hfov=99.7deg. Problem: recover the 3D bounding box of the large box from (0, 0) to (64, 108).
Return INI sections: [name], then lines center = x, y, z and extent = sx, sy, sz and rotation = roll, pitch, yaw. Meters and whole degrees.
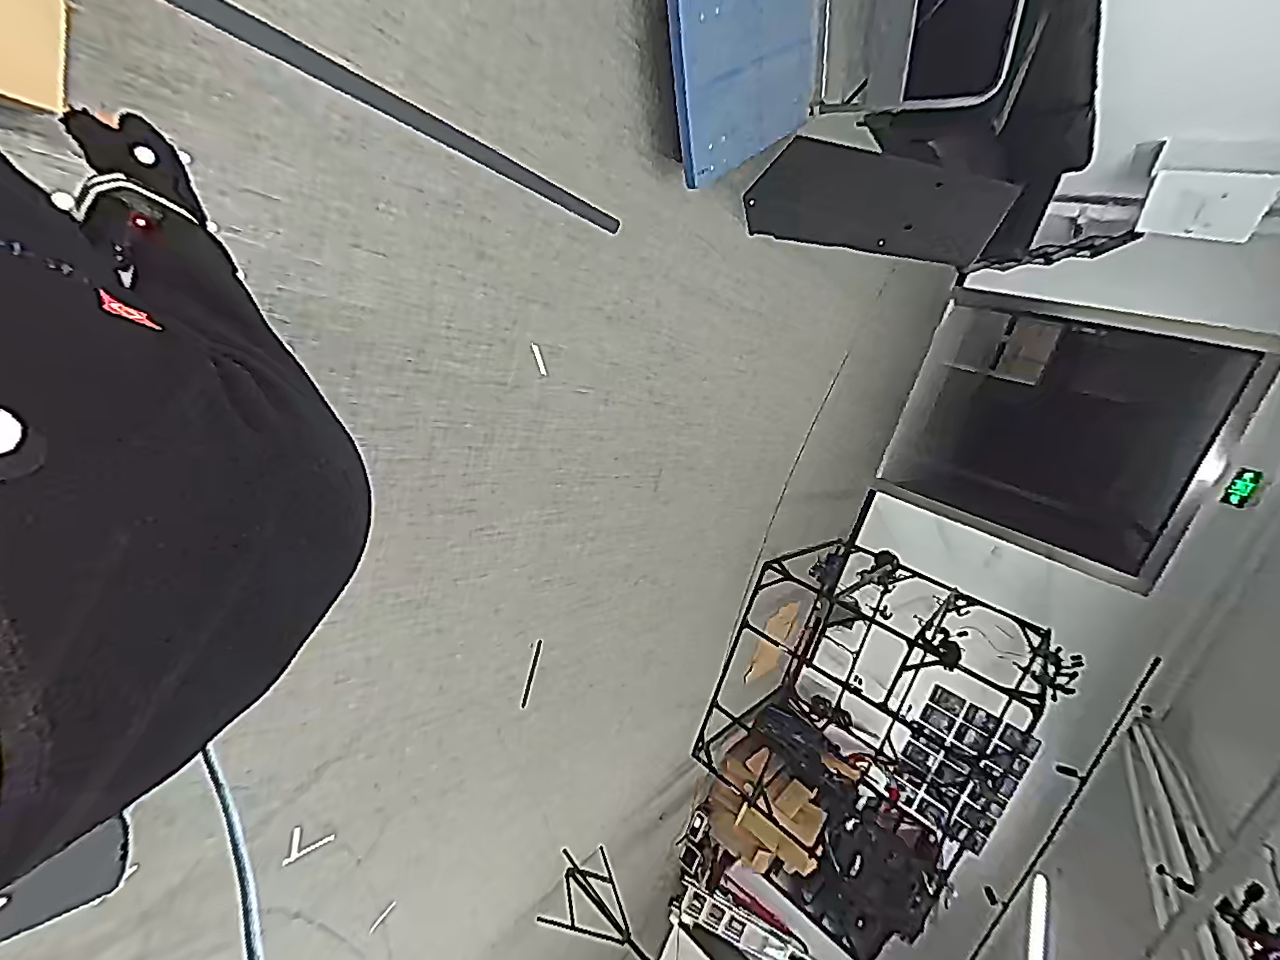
[large box]
center = -0.997, -0.702, 0.635
extent = 0.408, 0.320, 0.320
rotation = -4, 116, -53
